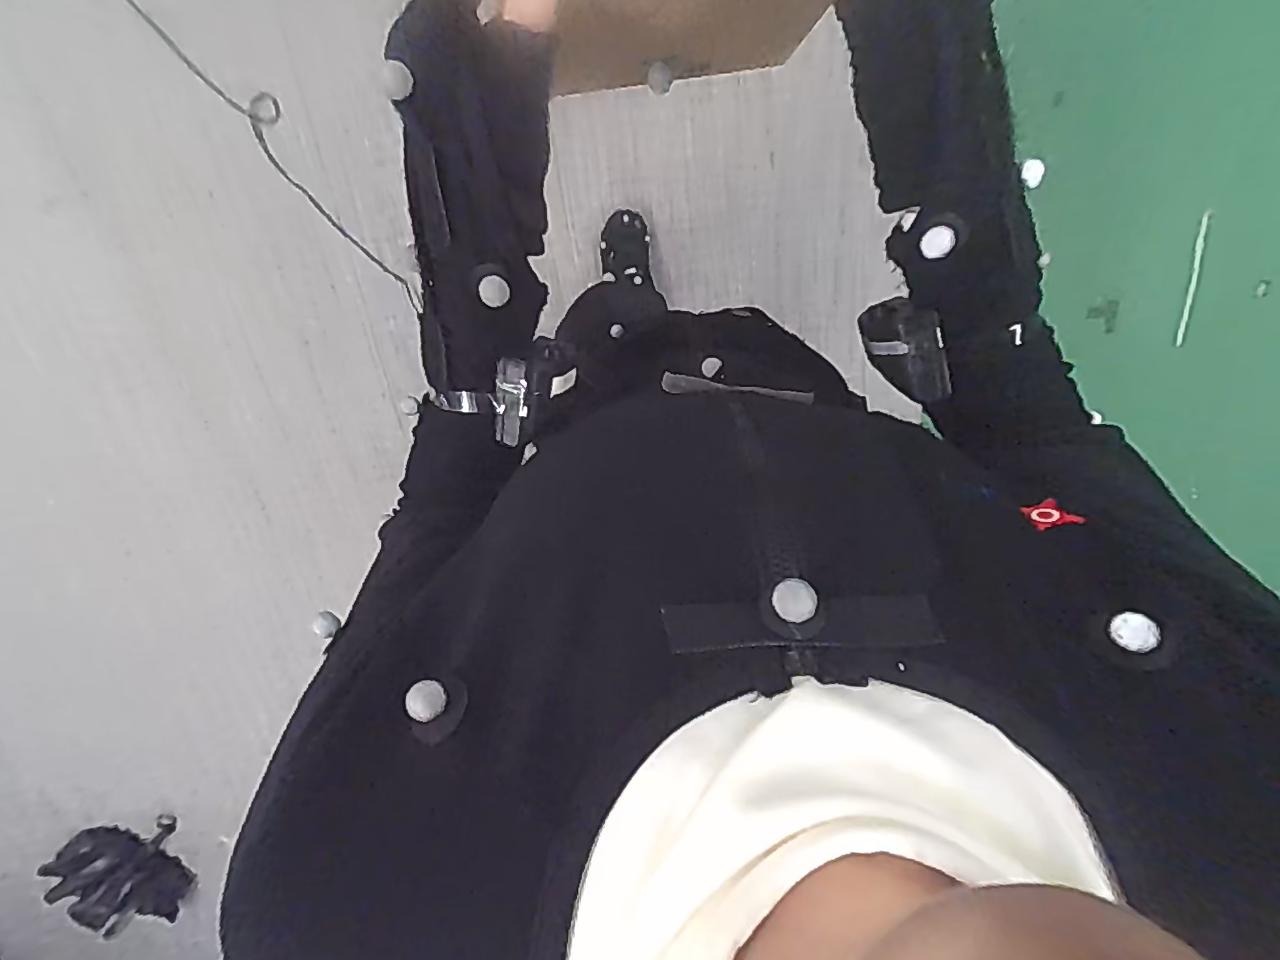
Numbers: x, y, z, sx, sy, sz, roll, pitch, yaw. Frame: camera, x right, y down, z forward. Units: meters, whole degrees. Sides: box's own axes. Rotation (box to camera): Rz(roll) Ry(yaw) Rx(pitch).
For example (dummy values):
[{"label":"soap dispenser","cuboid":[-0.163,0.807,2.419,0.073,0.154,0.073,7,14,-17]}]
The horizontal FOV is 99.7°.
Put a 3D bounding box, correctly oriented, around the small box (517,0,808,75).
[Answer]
[{"label":"small box","cuboid":[0.005,-0.330,0.257,0.168,0.176,0.179,-6,113,2]}]
